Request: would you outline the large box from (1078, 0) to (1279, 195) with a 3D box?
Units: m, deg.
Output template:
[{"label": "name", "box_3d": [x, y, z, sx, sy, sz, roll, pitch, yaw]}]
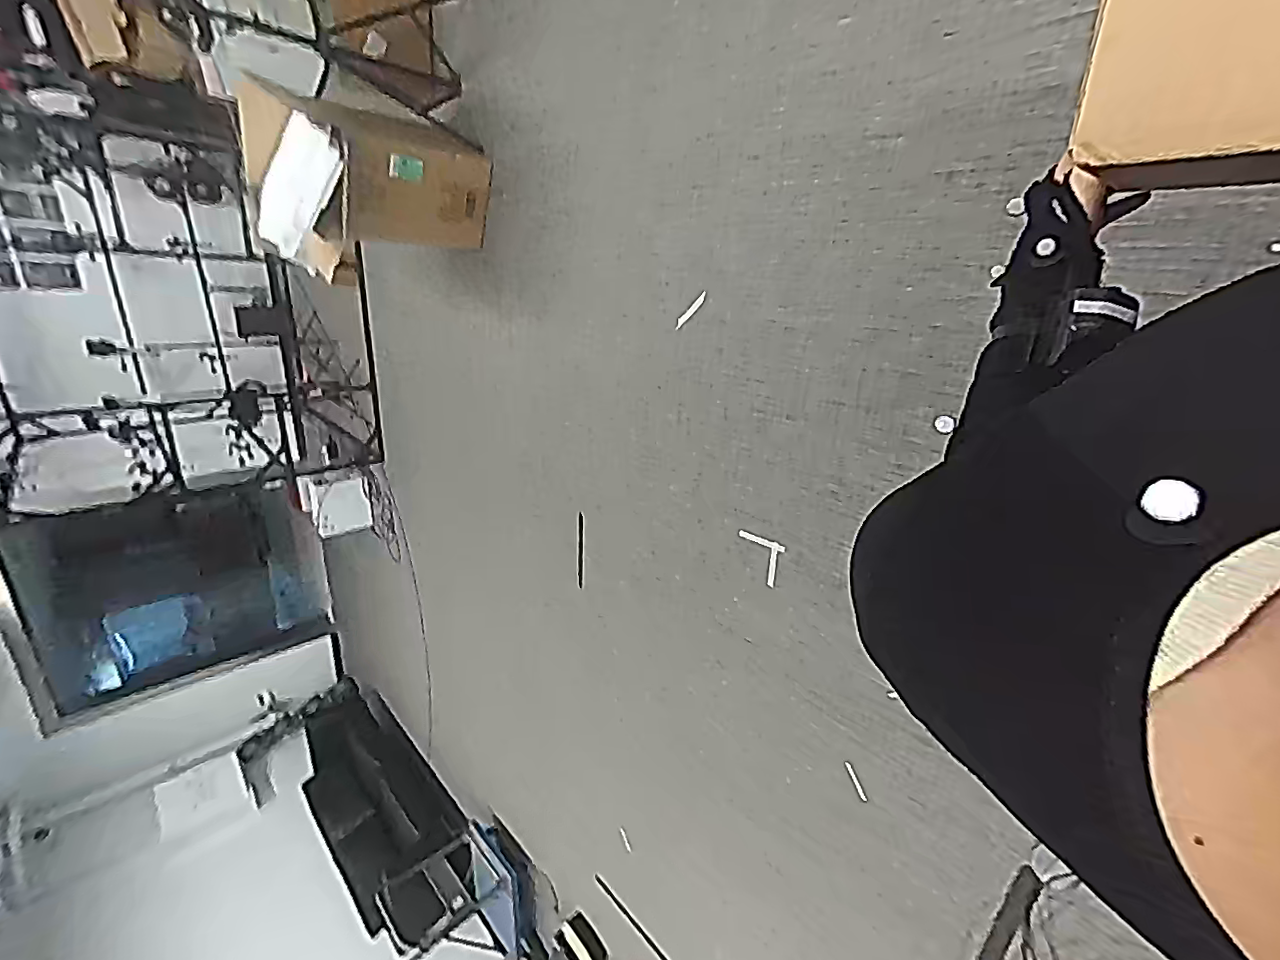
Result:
[{"label": "large box", "box_3d": [0.441, -0.295, 0.180, 0.408, 0.320, 0.320, 16, 120, 38]}]
